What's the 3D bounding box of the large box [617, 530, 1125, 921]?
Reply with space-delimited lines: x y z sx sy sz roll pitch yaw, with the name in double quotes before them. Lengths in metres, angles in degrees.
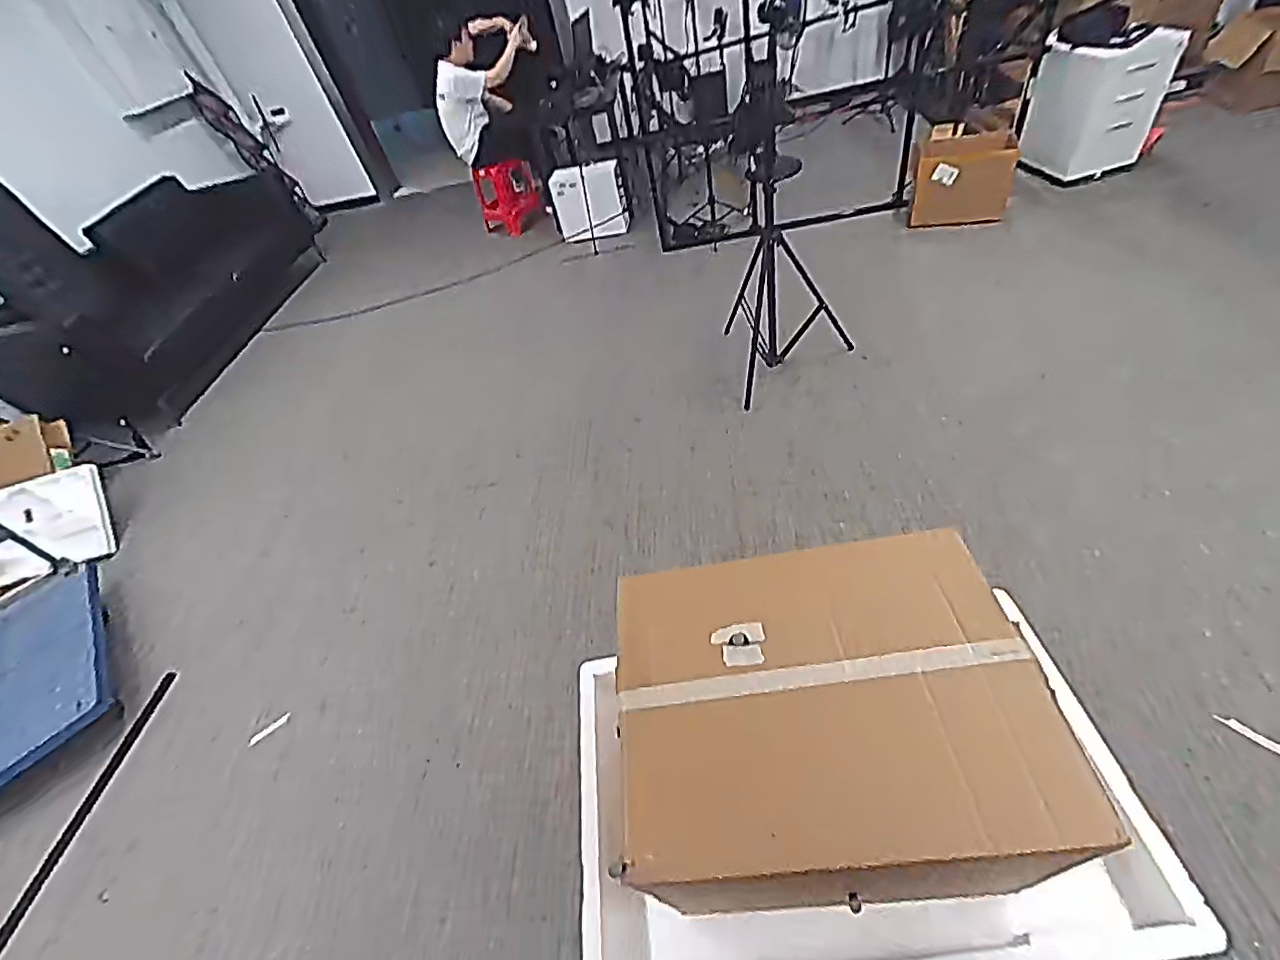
"large box" 0.209 0.304 0.645 0.408 0.320 0.320 -11 45 8
